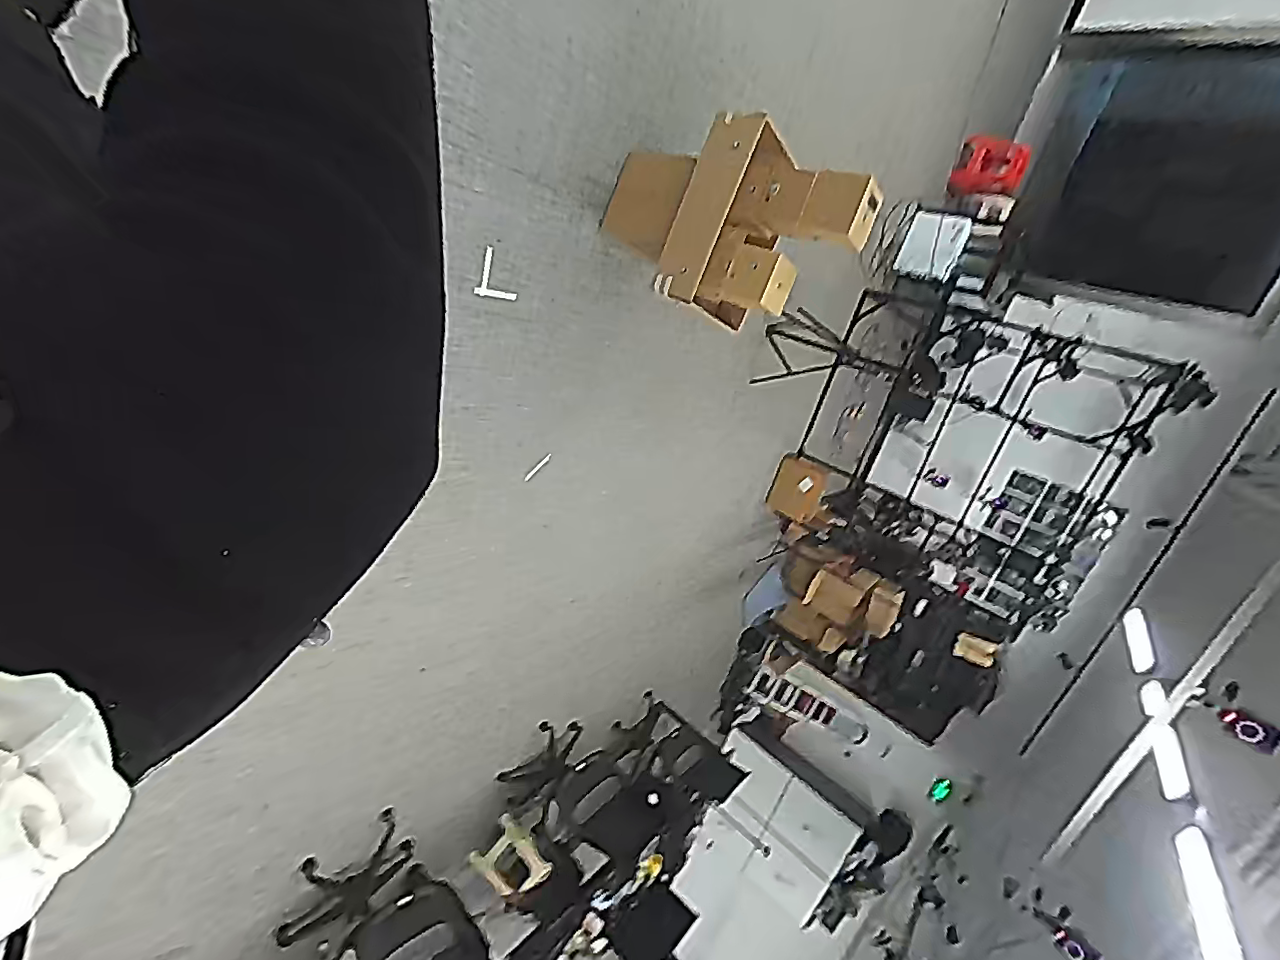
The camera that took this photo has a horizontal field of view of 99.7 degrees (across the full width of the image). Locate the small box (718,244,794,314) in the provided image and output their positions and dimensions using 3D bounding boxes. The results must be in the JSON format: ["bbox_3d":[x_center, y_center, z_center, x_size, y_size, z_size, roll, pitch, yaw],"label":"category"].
[{"bbox_3d":[0.392,-0.688,1.841,0.179,0.176,0.168,1,113,-56],"label":"small box"}]

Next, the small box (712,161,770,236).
[{"bbox_3d":[0.377,-0.987,1.891,0.168,0.176,0.179,1,115,-54],"label":"small box"}]

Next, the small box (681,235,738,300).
[{"bbox_3d":[0.271,-0.756,1.925,0.179,0.176,0.168,1,114,-55],"label":"small box"}]

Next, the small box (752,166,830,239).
[{"bbox_3d":[0.503,-0.927,1.804,0.179,0.176,0.168,-3,116,-54],"label":"small box"}]
